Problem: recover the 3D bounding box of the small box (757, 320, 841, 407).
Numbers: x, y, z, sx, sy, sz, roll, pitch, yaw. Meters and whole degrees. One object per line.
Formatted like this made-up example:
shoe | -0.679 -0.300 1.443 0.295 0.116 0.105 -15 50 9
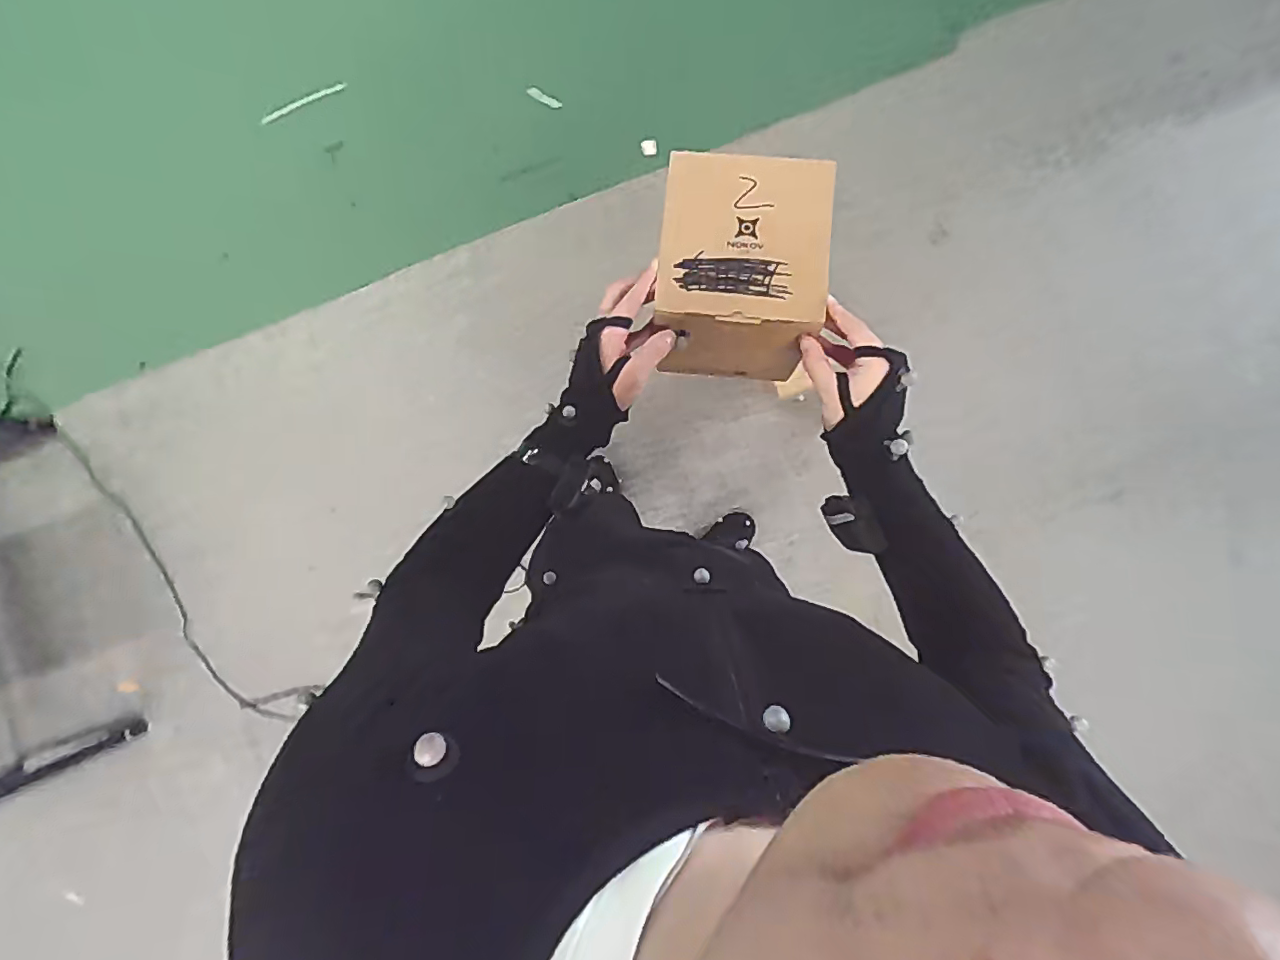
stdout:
small box | 0.436 -0.319 1.512 0.168 0.176 0.179 -19 88 7
